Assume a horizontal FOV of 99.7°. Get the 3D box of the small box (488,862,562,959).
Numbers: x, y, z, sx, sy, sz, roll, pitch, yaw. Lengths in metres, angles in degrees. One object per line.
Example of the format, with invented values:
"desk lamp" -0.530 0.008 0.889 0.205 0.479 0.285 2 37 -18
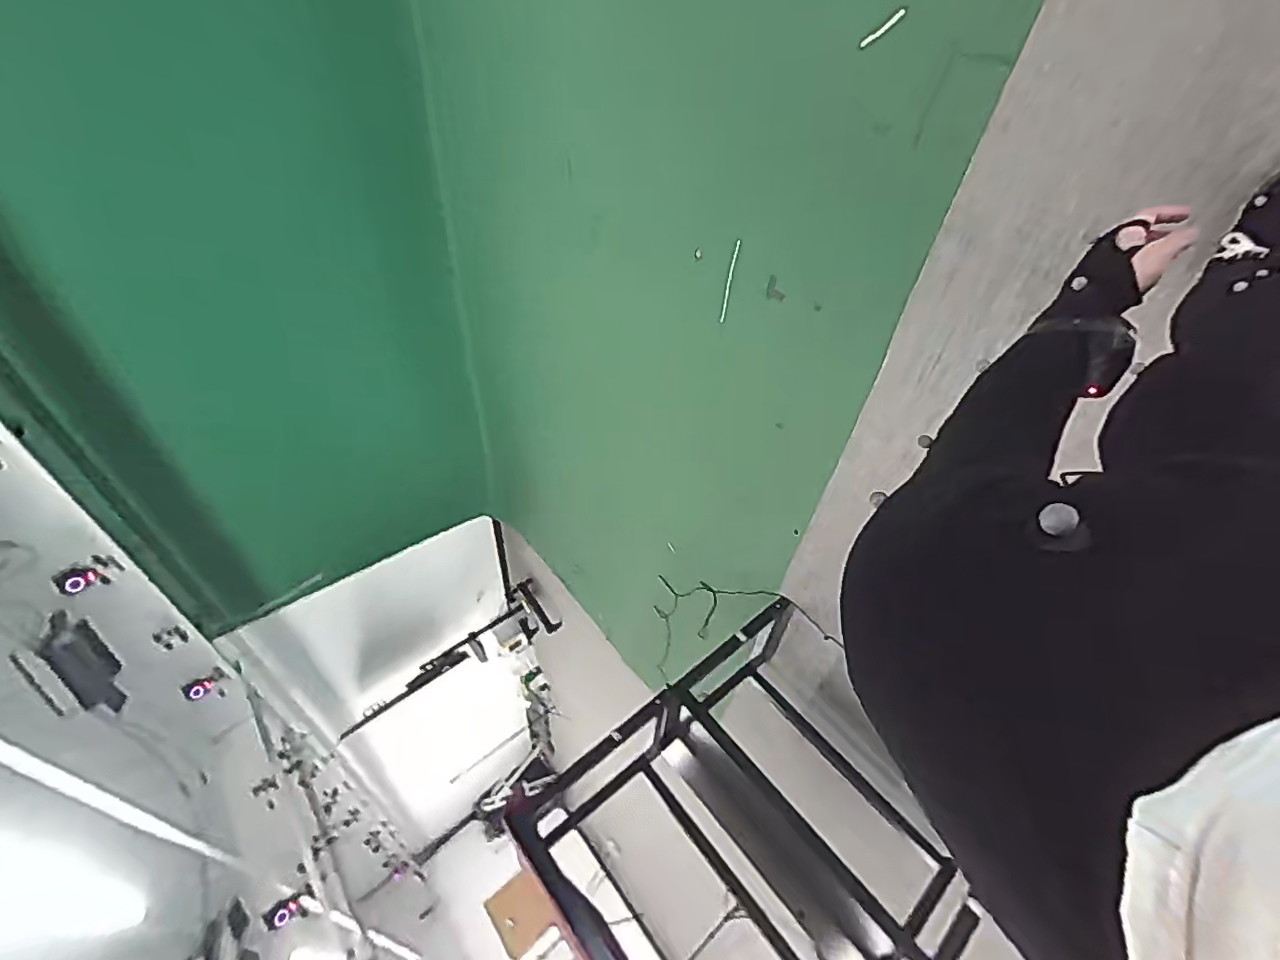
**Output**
"small box" -0.361 1.383 1.735 0.179 0.176 0.168 41 145 31
